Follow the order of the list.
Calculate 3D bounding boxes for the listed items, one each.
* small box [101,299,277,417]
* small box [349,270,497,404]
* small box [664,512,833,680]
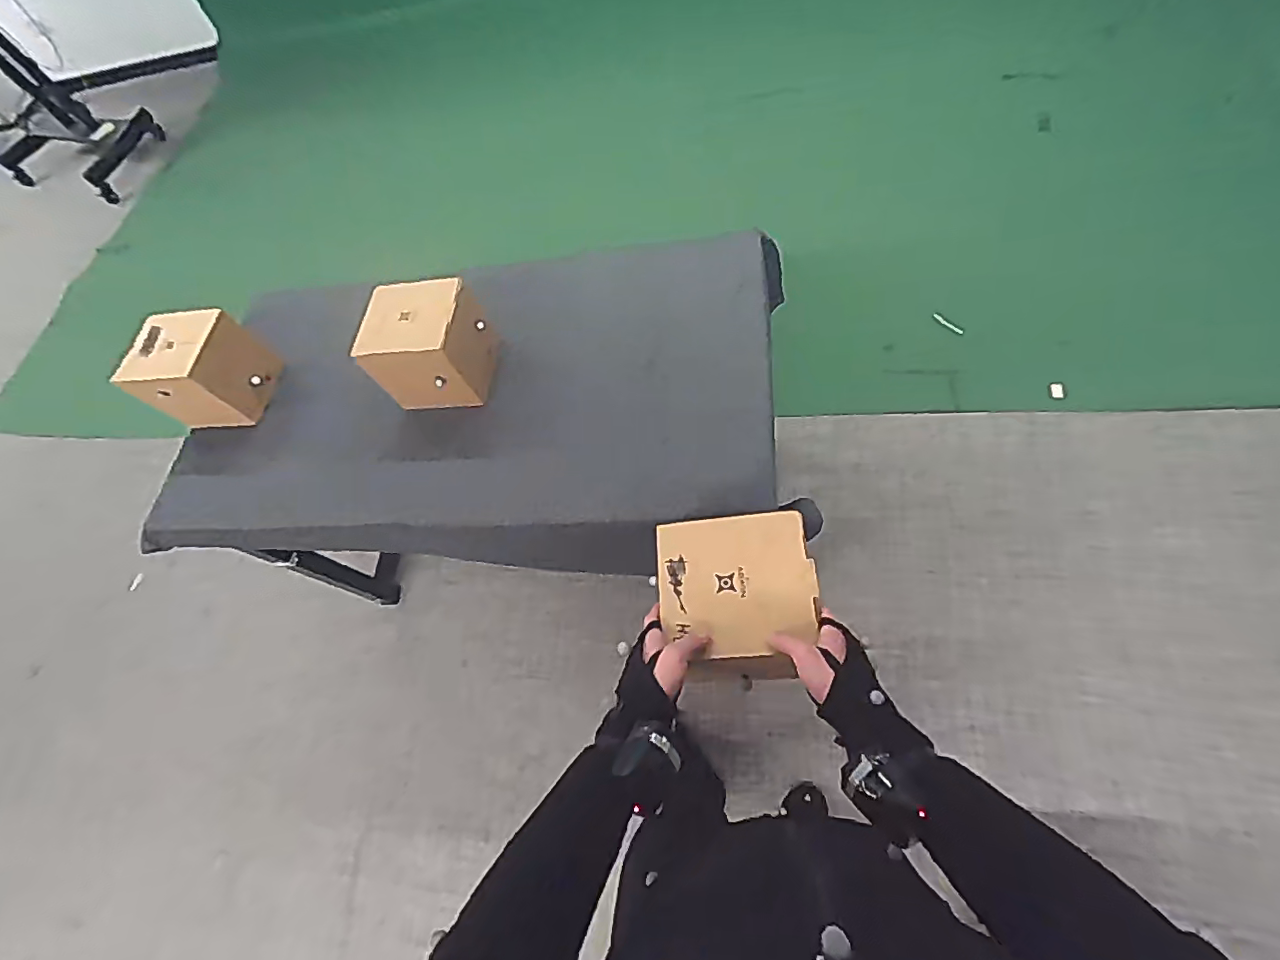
[{"bbox_3d":[-0.882,-0.236,1.076,0.179,0.176,0.168,0,65,10],"label":"small box"},{"bbox_3d":[-0.384,-0.255,0.992,0.179,0.176,0.168,-2,63,12],"label":"small box"},{"bbox_3d":[0.127,0.152,0.678,0.179,0.176,0.168,-5,61,8],"label":"small box"}]
